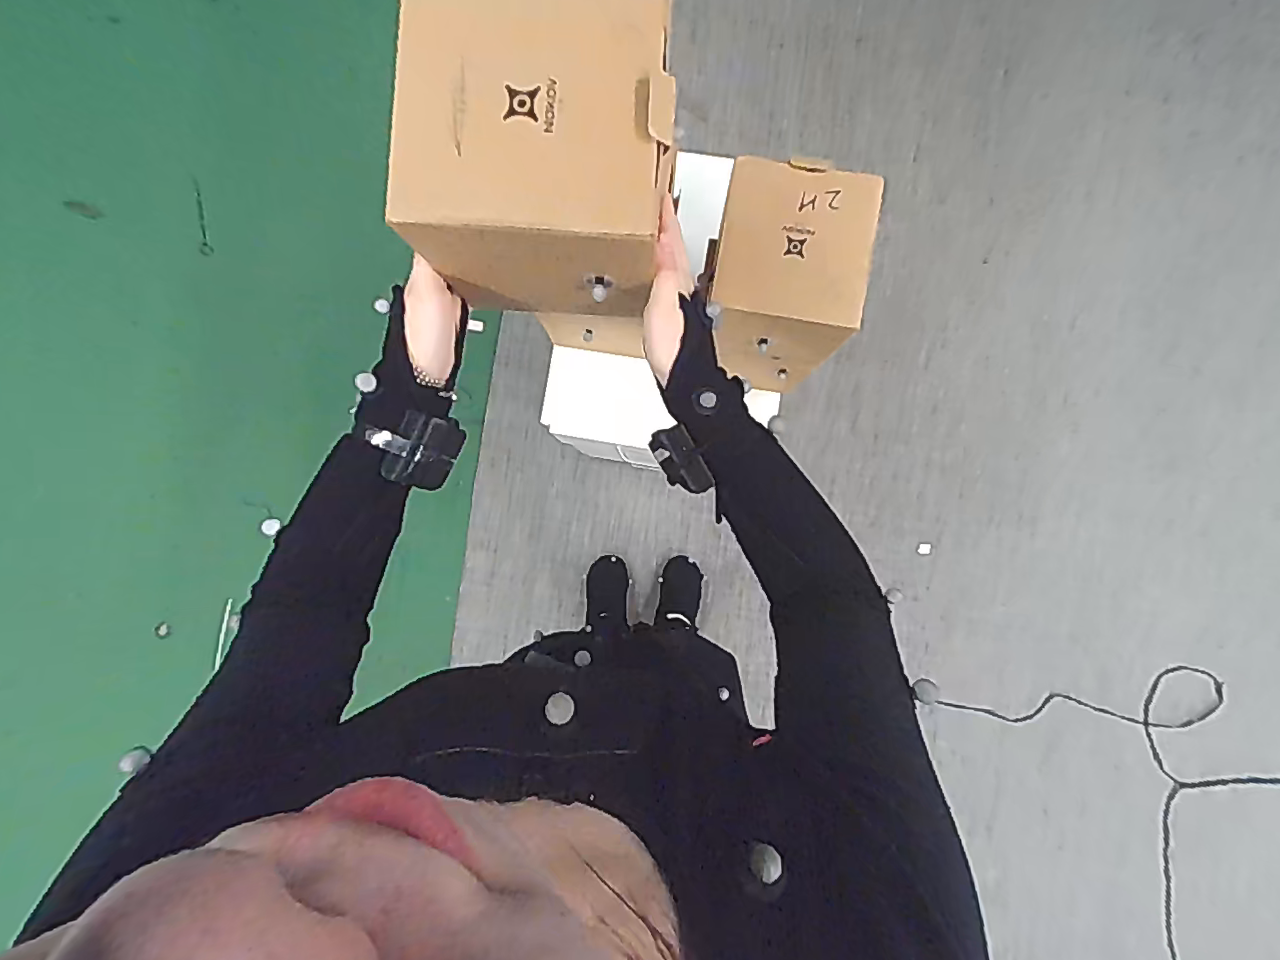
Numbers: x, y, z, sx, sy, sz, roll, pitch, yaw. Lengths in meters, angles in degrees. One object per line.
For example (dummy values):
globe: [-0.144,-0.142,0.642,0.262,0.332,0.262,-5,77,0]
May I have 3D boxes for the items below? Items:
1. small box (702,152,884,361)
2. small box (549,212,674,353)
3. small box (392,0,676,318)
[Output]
small box: [0.174,-0.260,0.671,0.168,0.176,0.179,10,87,2]
small box: [-0.048,-0.308,0.844,0.179,0.176,0.168,9,88,1]
small box: [-0.066,-0.235,0.426,0.179,0.176,0.168,3,89,2]
